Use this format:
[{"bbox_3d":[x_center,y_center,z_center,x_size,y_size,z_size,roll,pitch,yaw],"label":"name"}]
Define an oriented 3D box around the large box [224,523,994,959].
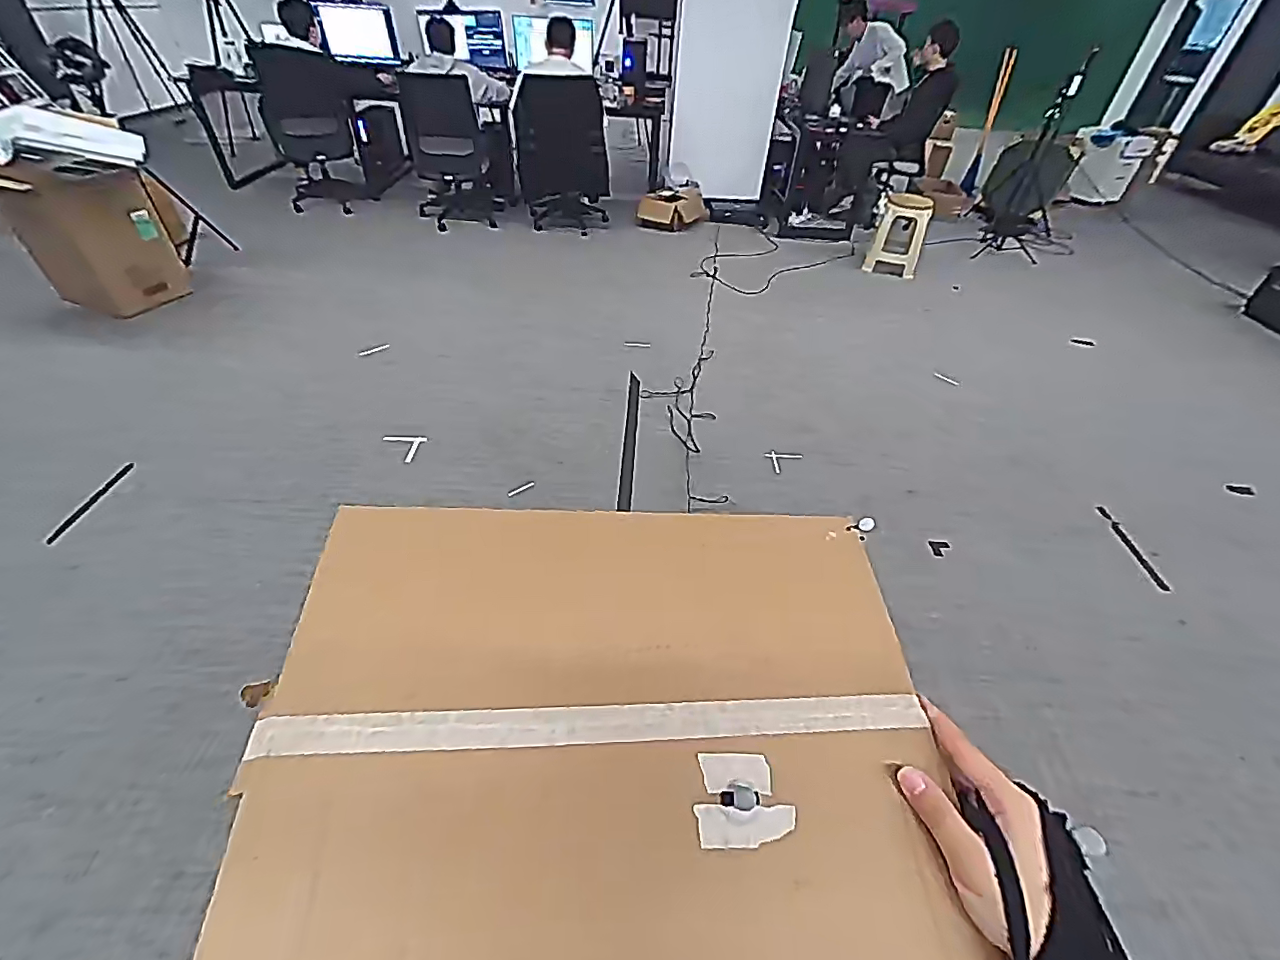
[{"bbox_3d":[-0.032,0.248,0.459,0.408,0.320,0.320,2,53,-9],"label":"large box"}]
